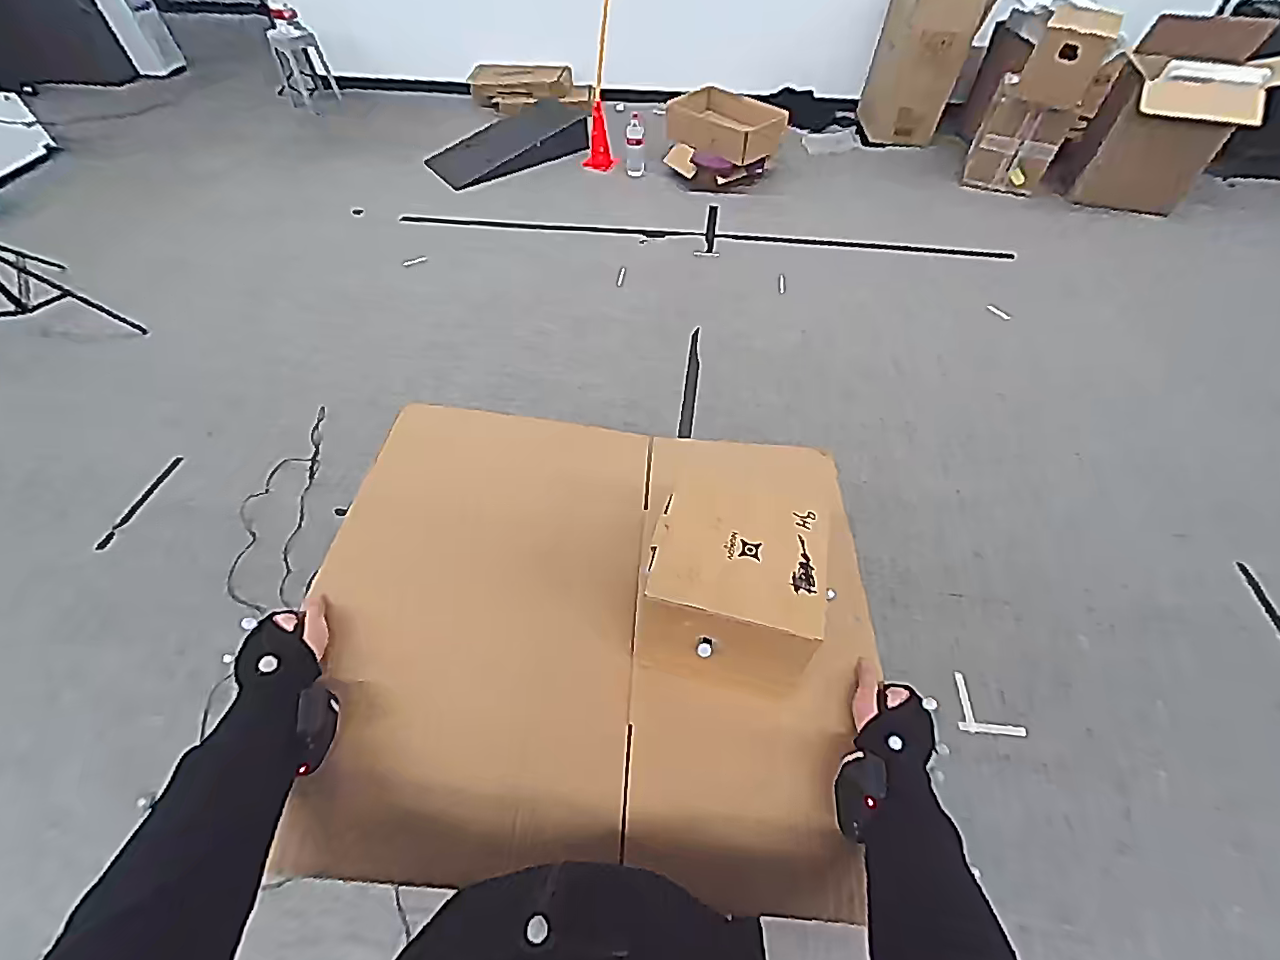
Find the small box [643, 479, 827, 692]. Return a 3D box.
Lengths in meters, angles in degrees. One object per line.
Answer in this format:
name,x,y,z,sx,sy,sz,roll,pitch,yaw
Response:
small box,0.106,0.126,0.632,0.179,0.176,0.168,11,50,9
